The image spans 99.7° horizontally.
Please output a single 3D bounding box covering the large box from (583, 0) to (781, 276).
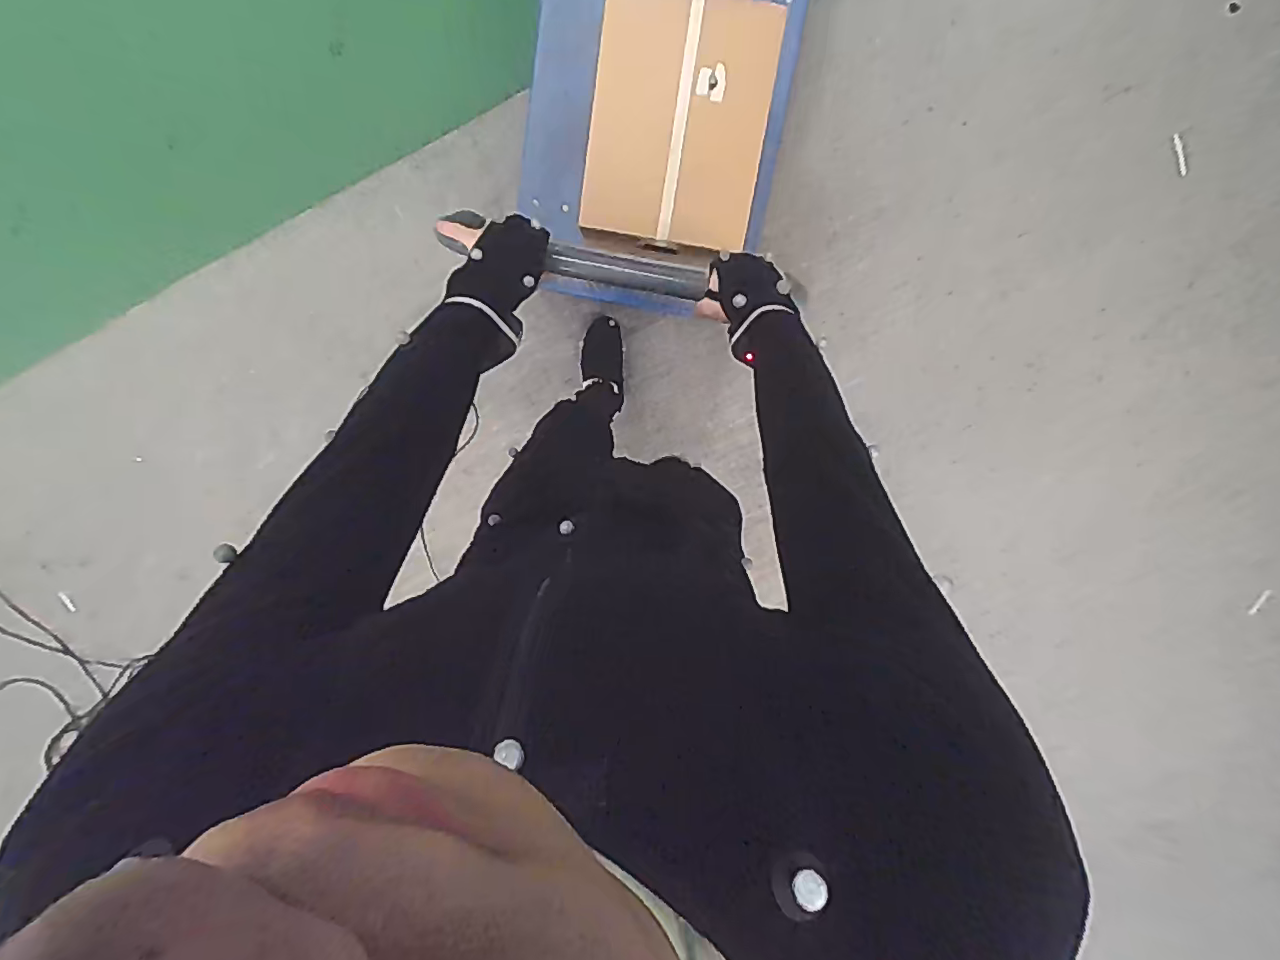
[{"bbox_3d":[0.070,-0.677,1.135,0.320,0.320,0.408,9,103,-4],"label":"large box"}]
